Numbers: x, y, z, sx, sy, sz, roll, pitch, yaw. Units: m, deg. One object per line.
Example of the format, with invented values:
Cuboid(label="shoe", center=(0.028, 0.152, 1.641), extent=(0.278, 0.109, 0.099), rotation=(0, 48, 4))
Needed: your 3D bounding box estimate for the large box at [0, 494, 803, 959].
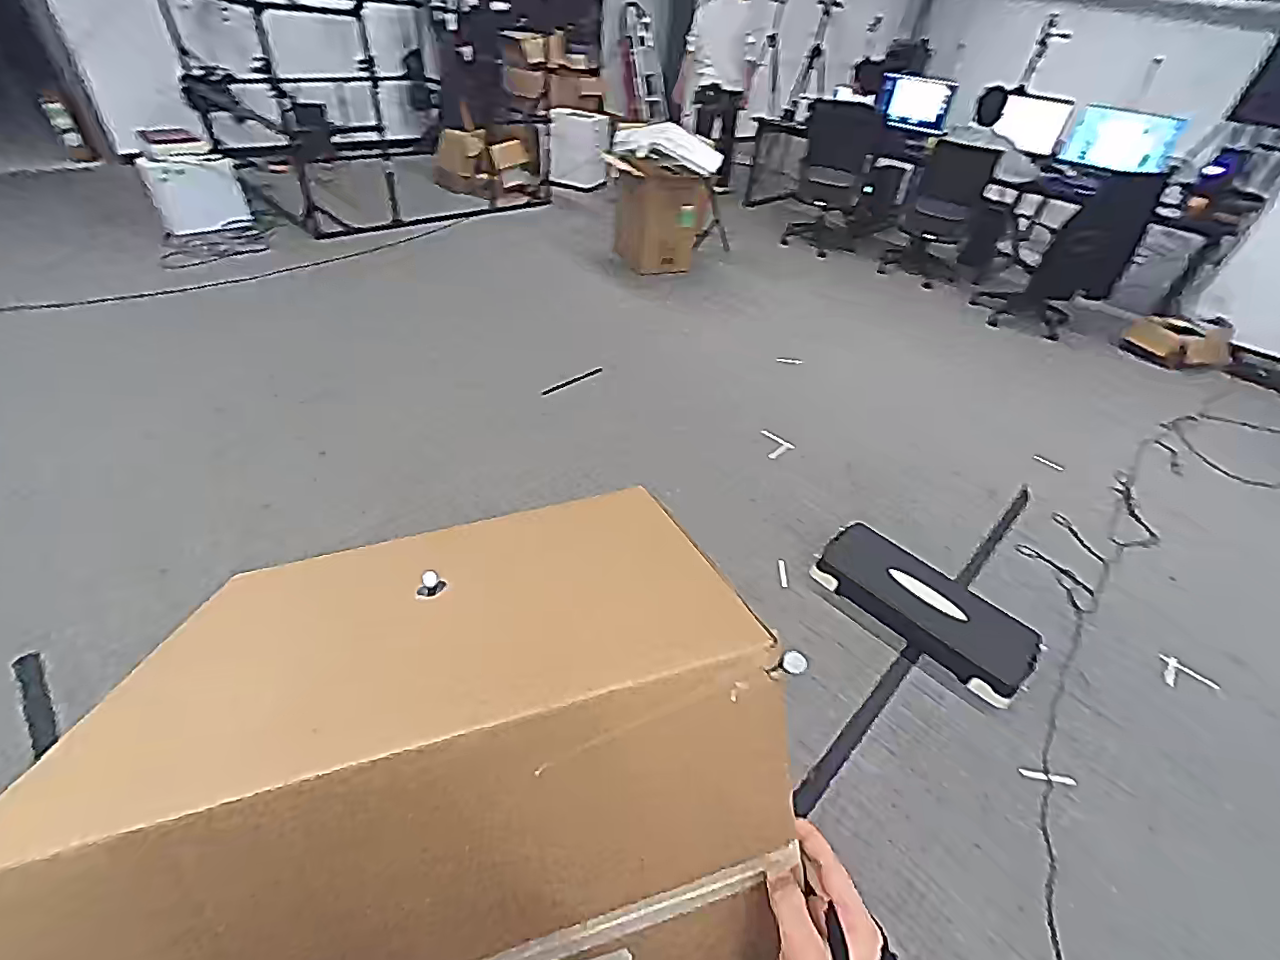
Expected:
Cuboid(label="large box", center=(-0.126, 0.234, 0.462), extent=(0.408, 0.320, 0.320), rotation=(-12, 19, -10))
